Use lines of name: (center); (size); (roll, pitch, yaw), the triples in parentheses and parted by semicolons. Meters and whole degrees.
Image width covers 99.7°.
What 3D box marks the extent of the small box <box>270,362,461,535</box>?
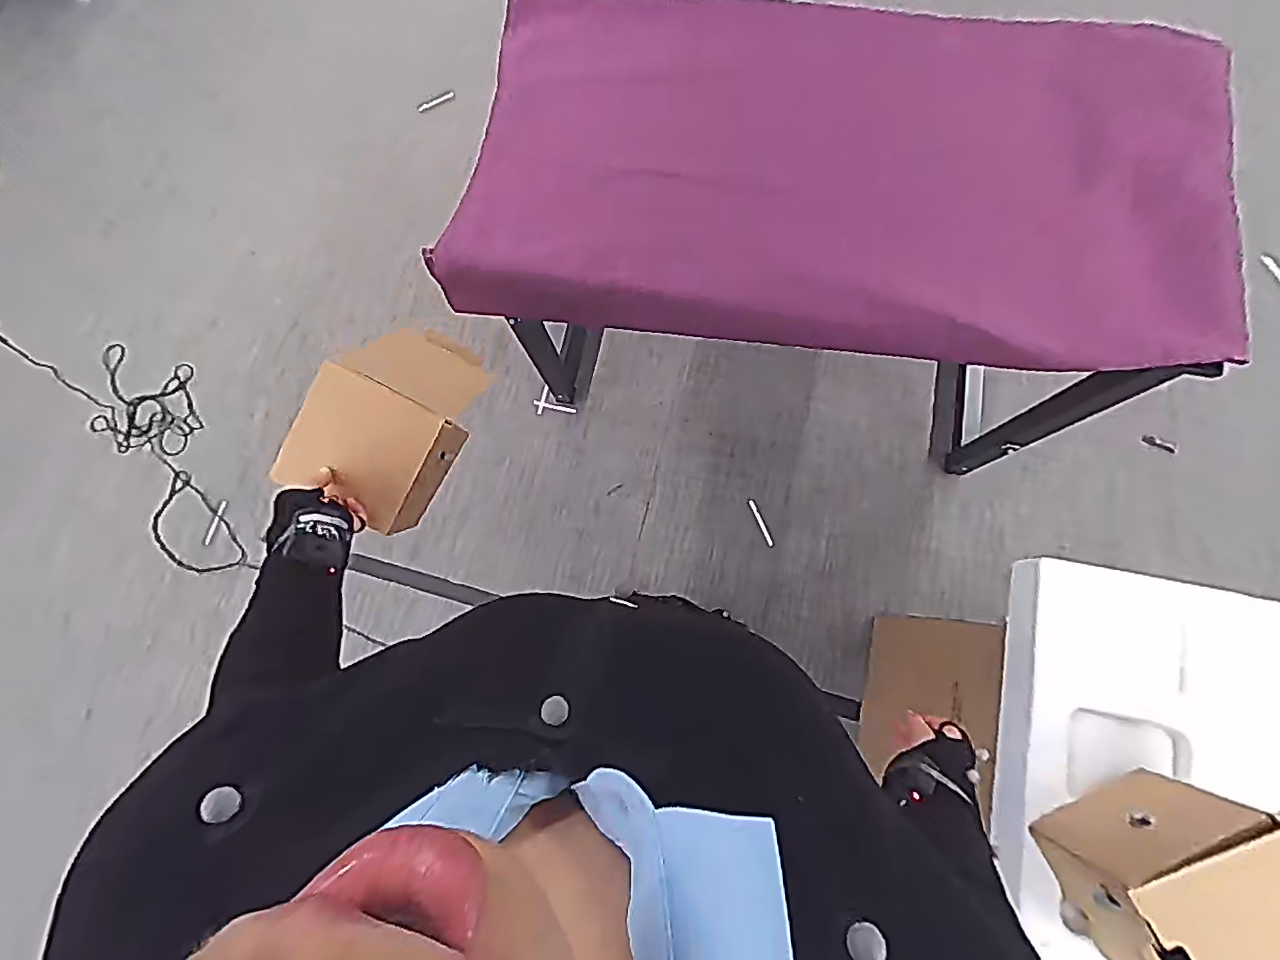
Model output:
small box: (-0.377, -0.040, 0.783); (0.168, 0.176, 0.179); (29, 85, -8)
